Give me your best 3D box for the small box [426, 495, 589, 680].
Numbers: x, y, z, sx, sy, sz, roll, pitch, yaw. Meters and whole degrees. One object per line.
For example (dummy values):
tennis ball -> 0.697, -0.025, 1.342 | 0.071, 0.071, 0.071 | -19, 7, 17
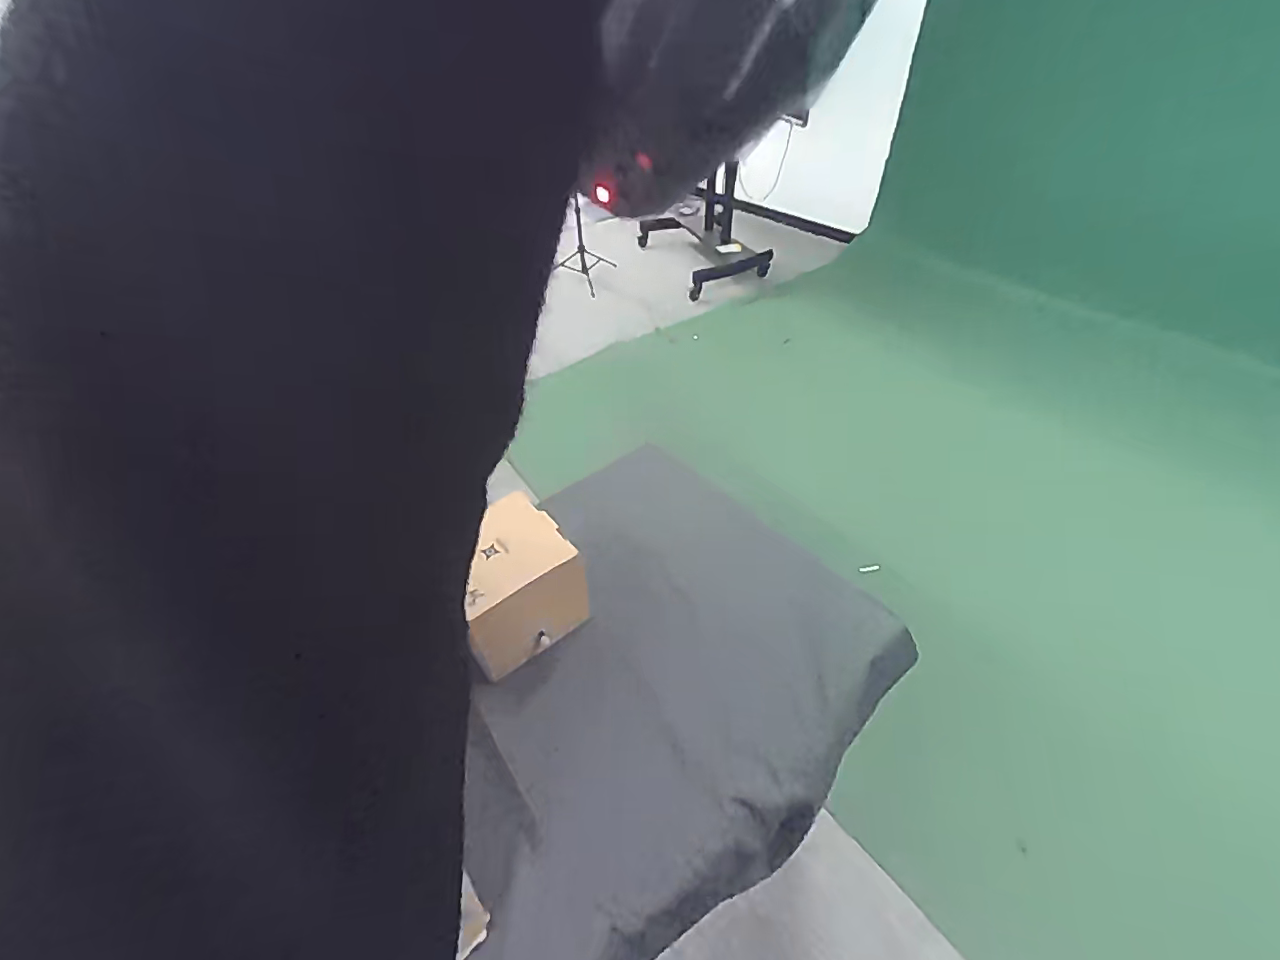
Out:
small box -> -0.189, 0.161, 0.819 | 0.179, 0.176, 0.168 | -30, 50, -26
